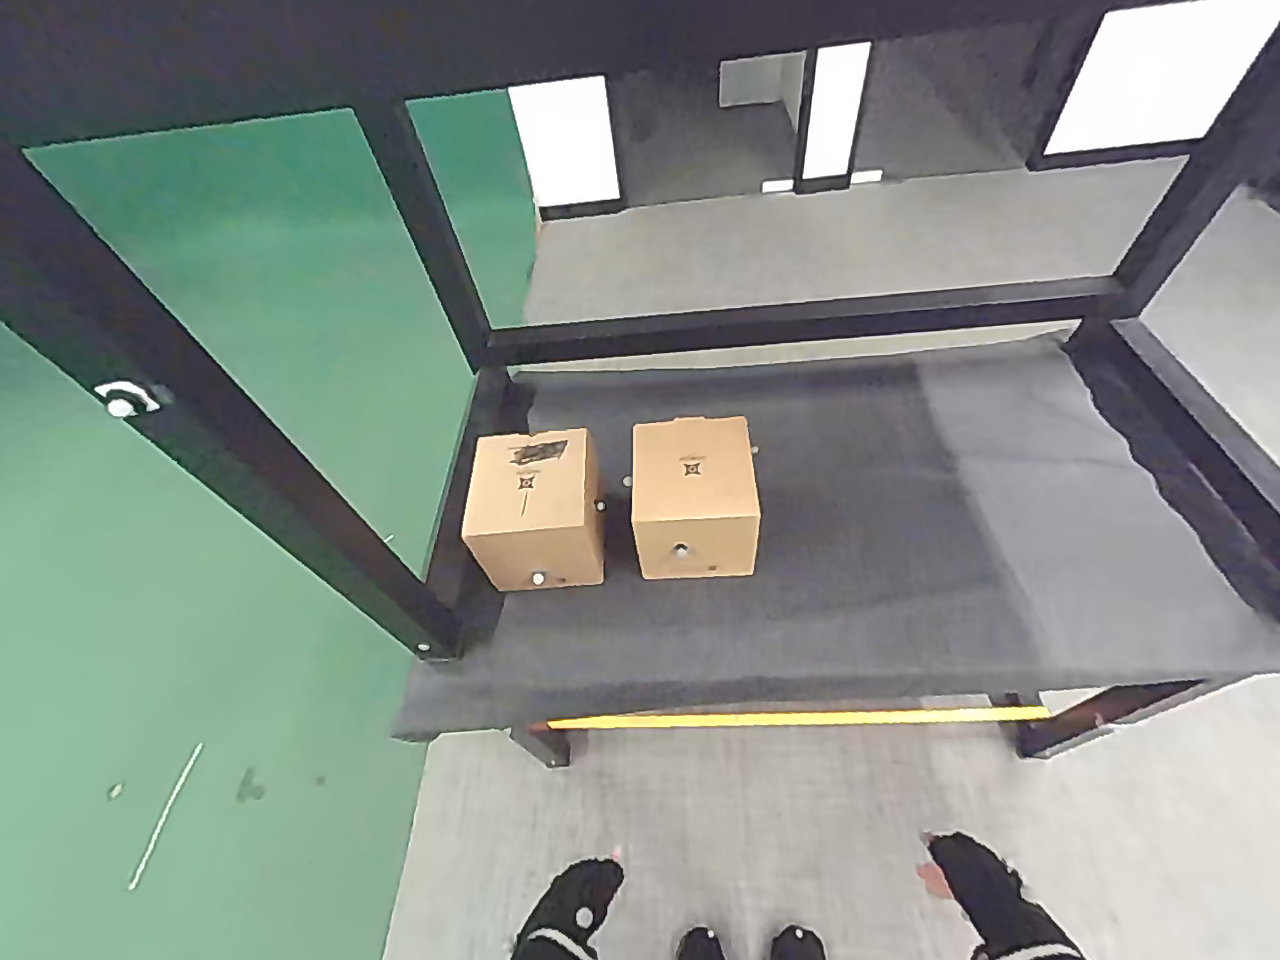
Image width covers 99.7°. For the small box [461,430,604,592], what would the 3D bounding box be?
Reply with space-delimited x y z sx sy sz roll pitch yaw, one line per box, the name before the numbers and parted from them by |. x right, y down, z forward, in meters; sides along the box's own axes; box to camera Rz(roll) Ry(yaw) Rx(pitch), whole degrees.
small box | -0.148 0.049 0.815 0.168 0.176 0.179 -5 52 4

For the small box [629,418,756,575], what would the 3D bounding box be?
small box | 0.078 0.032 0.801 0.168 0.176 0.179 -3 51 5
